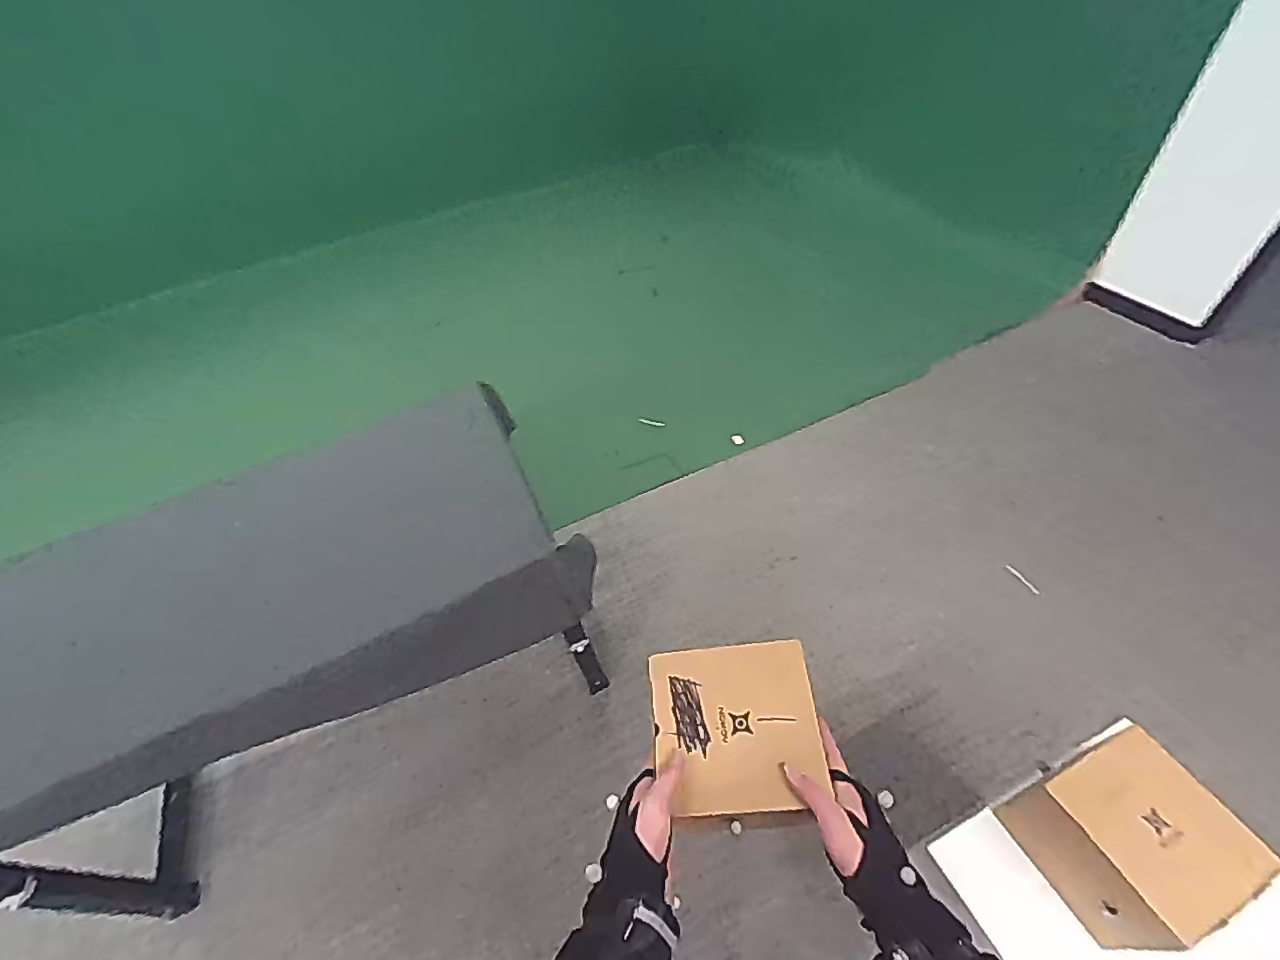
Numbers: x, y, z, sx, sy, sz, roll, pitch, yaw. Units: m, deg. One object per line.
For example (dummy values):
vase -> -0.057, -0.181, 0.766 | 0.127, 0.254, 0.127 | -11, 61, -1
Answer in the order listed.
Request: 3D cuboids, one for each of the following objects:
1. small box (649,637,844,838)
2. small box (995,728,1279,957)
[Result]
small box -> 0.112, 0.296, 0.612 | 0.179, 0.176, 0.168 | -8, 51, 5
small box -> 0.612, 0.459, 0.689 | 0.168, 0.176, 0.179 | -22, 50, -16
